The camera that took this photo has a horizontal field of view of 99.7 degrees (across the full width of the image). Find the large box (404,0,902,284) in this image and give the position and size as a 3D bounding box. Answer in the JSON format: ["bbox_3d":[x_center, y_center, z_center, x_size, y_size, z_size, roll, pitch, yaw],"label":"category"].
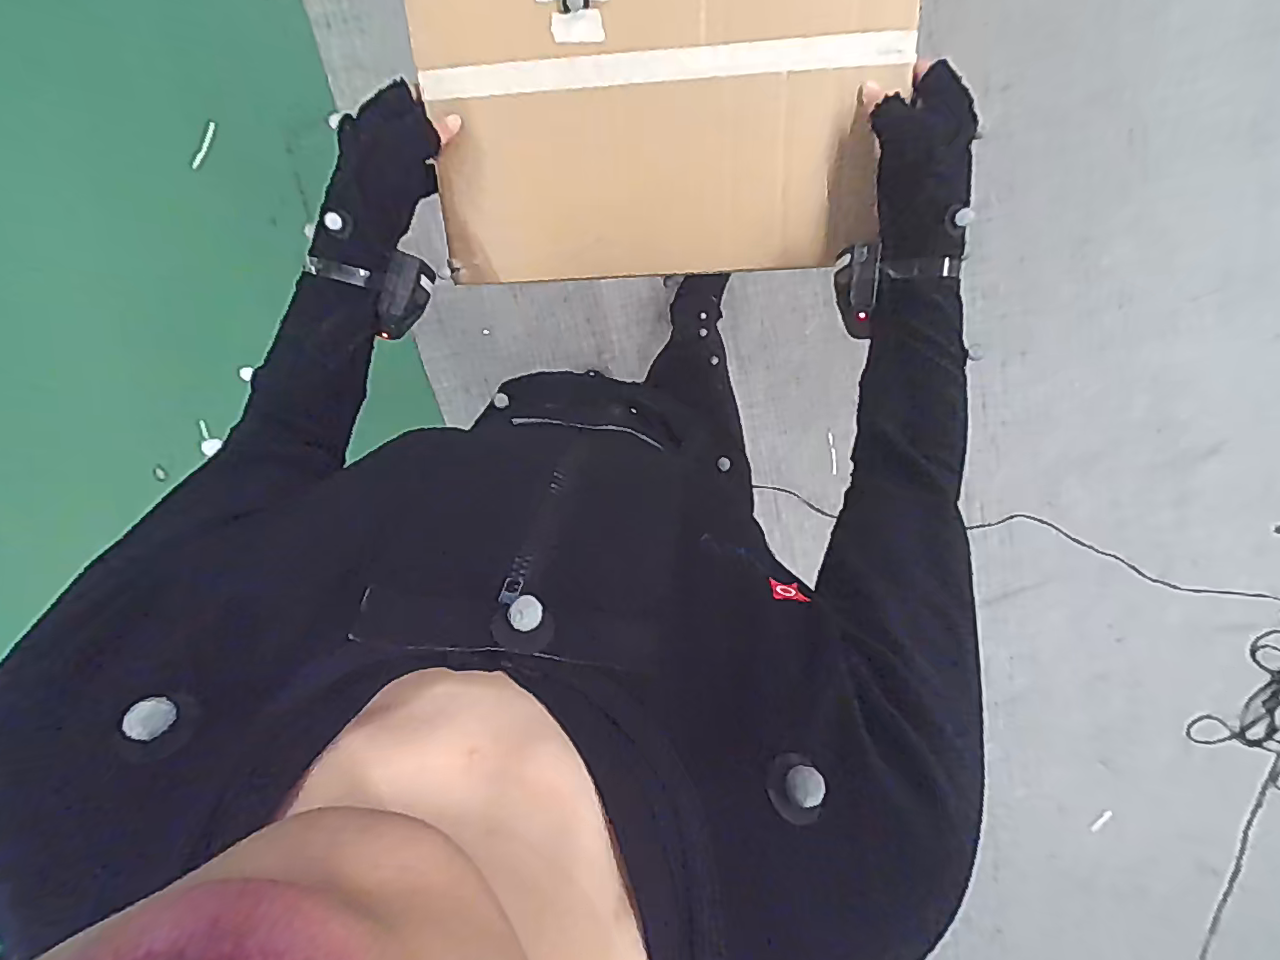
[{"bbox_3d":[0.018,-0.392,0.584,0.408,0.320,0.320,-1,111,4],"label":"large box"}]
